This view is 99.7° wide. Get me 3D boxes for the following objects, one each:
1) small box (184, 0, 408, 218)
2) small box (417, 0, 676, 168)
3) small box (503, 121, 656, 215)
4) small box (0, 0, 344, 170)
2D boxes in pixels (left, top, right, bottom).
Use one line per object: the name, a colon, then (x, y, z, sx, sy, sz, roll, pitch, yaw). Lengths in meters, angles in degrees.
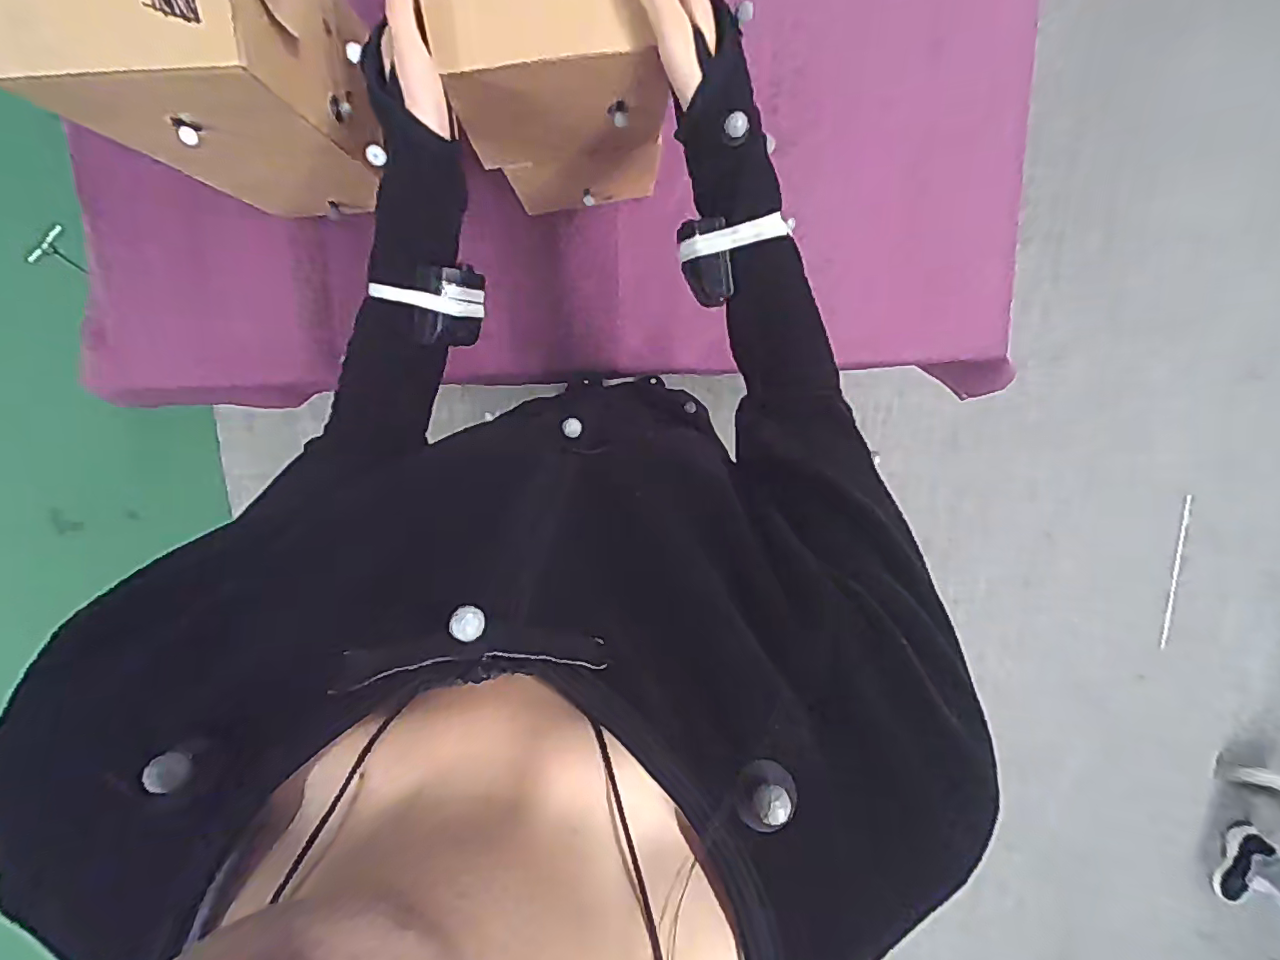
small box: (-0.377, -0.405, 0.603, 0.179, 0.176, 0.168, -5, 101, -2)
small box: (-0.076, -0.380, 0.442, 0.179, 0.176, 0.168, -9, 101, -2)
small box: (-0.078, -0.425, 0.612, 0.168, 0.176, 0.179, -9, 102, 0)
small box: (-0.369, -0.372, 0.442, 0.179, 0.176, 0.168, -4, 102, -1)
